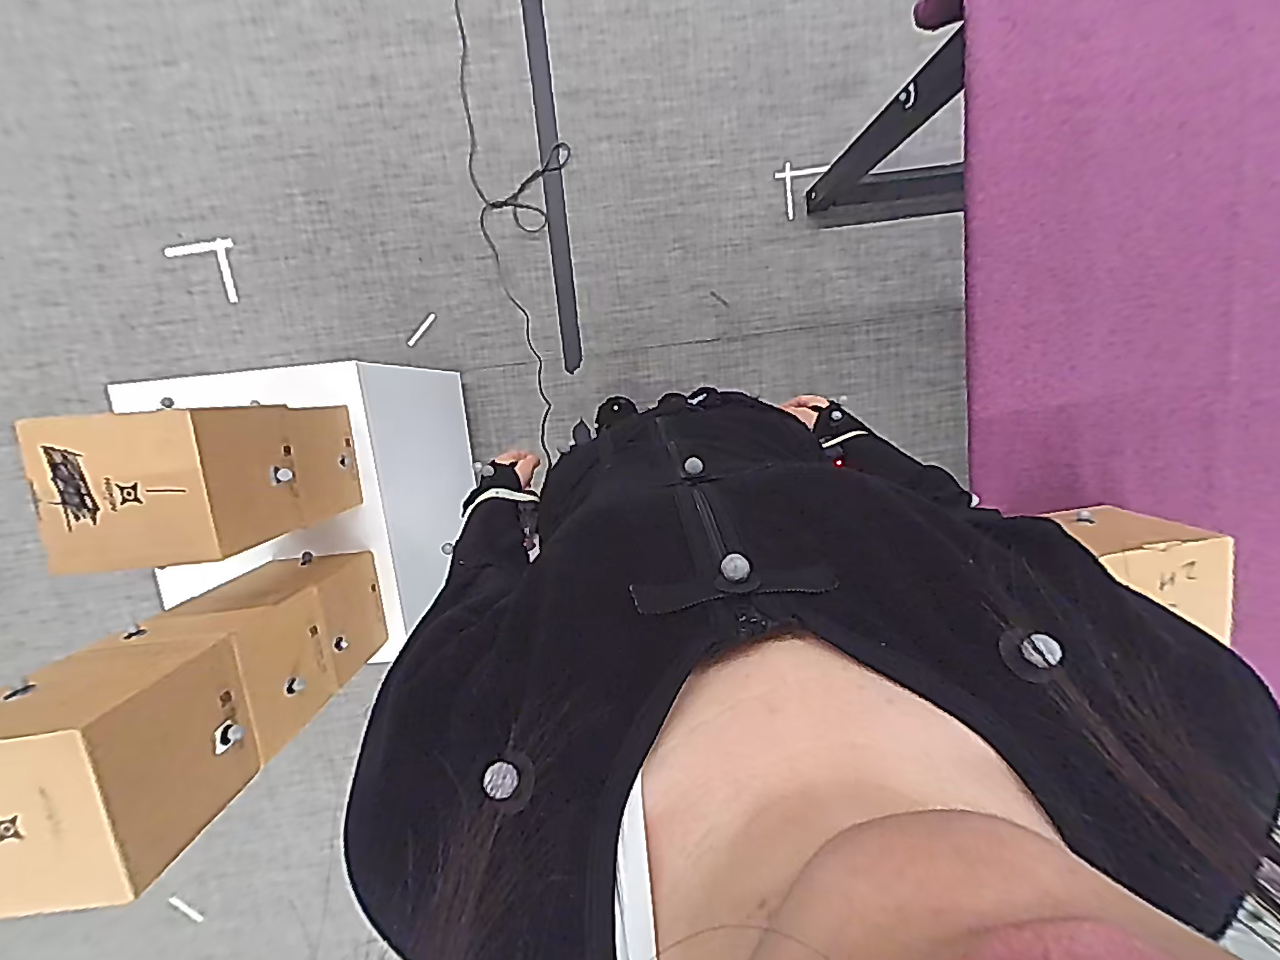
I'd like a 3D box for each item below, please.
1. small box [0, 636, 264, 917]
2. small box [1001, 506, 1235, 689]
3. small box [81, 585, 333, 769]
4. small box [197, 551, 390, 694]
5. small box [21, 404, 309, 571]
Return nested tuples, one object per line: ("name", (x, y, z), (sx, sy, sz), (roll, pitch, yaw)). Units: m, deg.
("small box", (-0.515, 0.268, 0.519), (0.179, 0.176, 0.168), (-7, 100, -1))
("small box", (0.614, 0.145, 0.718), (0.168, 0.176, 0.179), (-8, 99, -1))
("small box", (-0.517, 0.243, 0.679), (0.179, 0.176, 0.168), (-7, 100, 0))
("small box", (-0.522, 0.217, 0.839), (0.179, 0.176, 0.168), (-5, 100, 1))
("small box", (-0.533, -0.001, 0.636), (0.179, 0.176, 0.168), (-4, 100, -2))
